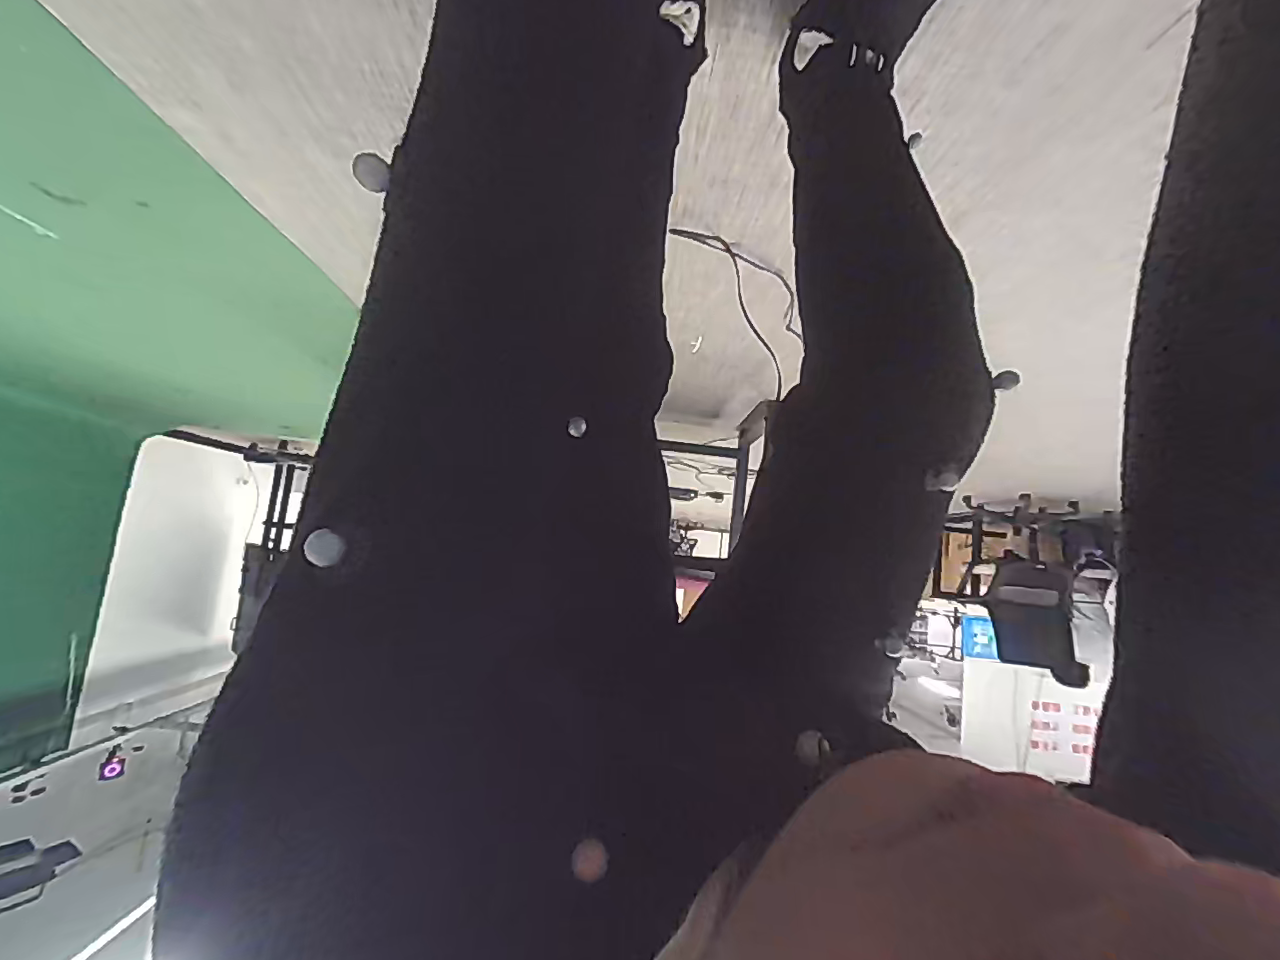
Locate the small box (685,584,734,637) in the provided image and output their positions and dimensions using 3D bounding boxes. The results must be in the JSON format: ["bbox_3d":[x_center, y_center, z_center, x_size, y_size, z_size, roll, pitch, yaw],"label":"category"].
[{"bbox_3d":[0.265,0.494,2.070,0.168,0.176,0.179,7,175,3],"label":"small box"}]
